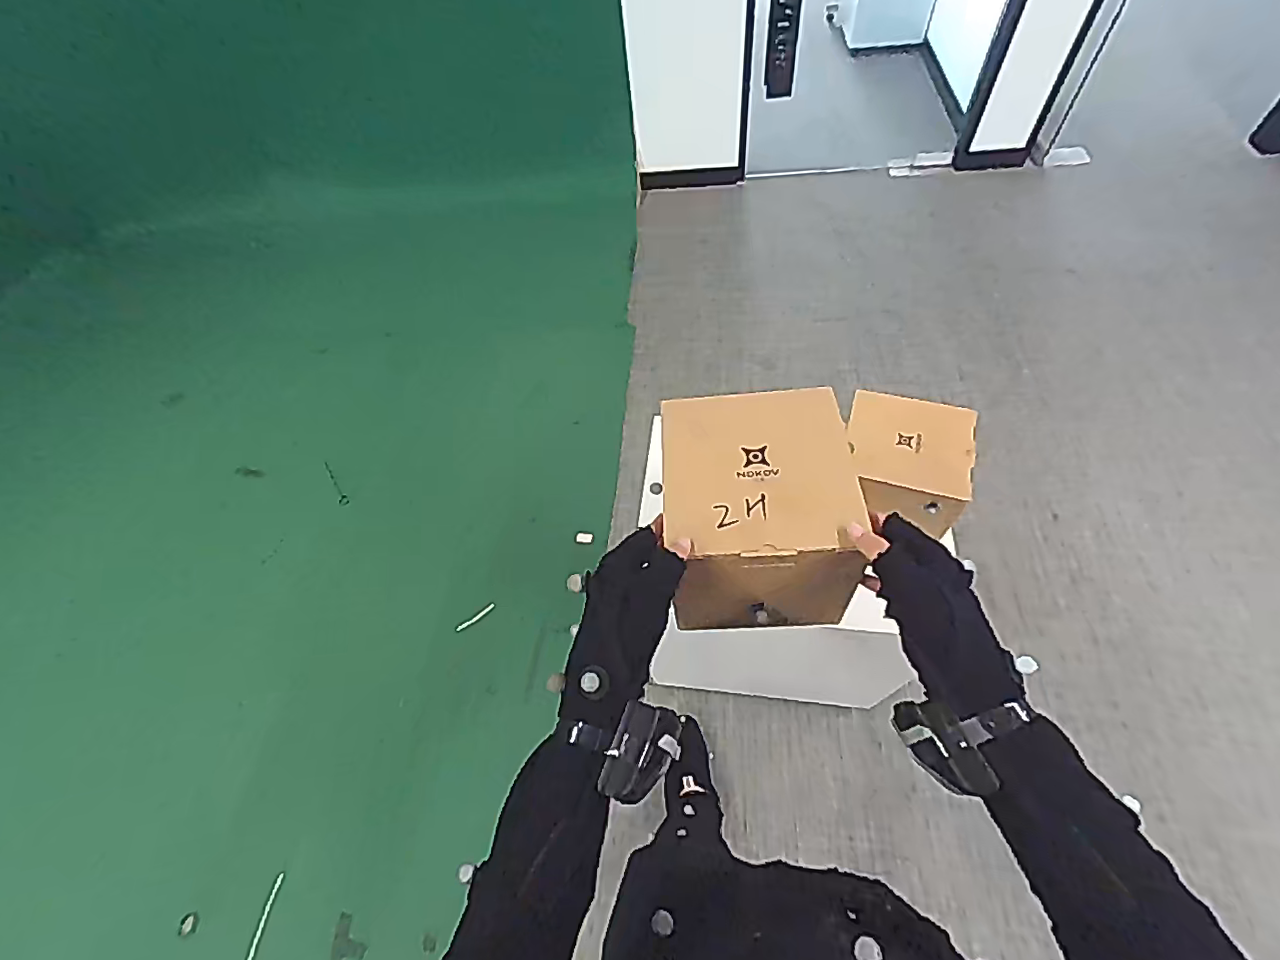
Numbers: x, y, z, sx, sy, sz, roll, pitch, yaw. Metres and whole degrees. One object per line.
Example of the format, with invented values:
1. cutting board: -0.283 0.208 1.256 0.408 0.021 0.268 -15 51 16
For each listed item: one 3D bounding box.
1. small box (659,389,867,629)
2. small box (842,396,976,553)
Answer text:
1. small box: 0.108 0.034 0.541 0.168 0.176 0.179 -4 54 7
2. small box: 0.399 -0.005 0.852 0.179 0.176 0.168 14 60 16
